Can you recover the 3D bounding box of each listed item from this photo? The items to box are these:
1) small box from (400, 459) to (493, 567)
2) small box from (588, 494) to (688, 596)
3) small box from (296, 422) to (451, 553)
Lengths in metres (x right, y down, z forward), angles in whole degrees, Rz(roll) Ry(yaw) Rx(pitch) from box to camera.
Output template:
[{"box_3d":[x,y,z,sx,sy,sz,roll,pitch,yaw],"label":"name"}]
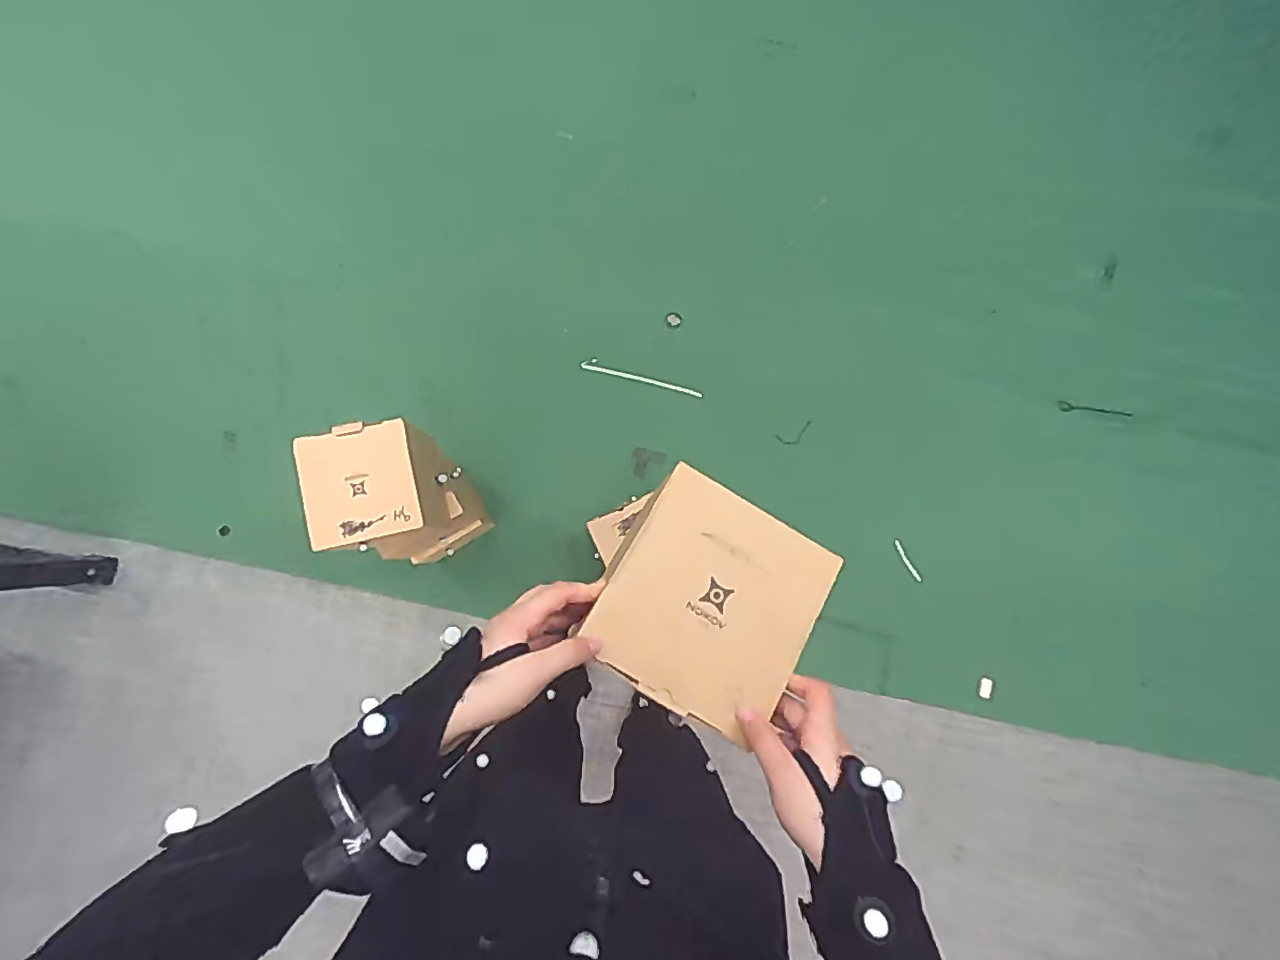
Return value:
[{"box_3d":[-0.452,0.075,1.213,0.168,0.176,0.179,-32,87,-7],"label":"small box"},{"box_3d":[-0.013,0.148,1.242,0.168,0.176,0.179,-25,87,-7],"label":"small box"},{"box_3d":[-0.427,0.019,0.890,0.168,0.176,0.179,-13,85,-6],"label":"small box"}]
